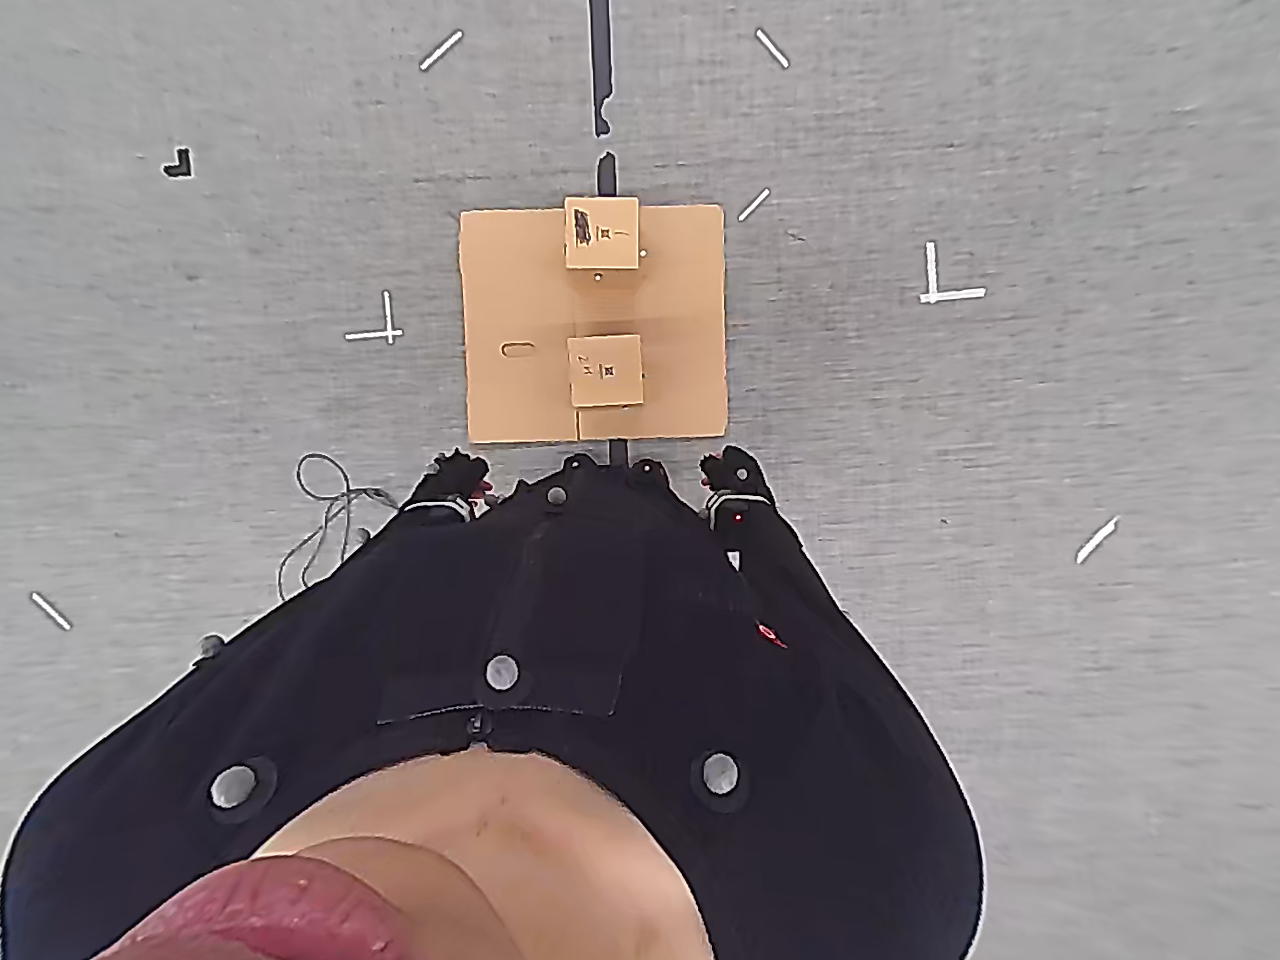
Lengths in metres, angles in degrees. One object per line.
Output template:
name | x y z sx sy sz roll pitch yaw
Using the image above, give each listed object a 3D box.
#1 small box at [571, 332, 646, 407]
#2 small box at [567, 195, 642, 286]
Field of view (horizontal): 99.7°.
small box | -0.076 -0.277 1.377 0.179 0.176 0.168 -3 94 2
small box | -0.085 -0.593 1.356 0.179 0.176 0.168 0 94 0
